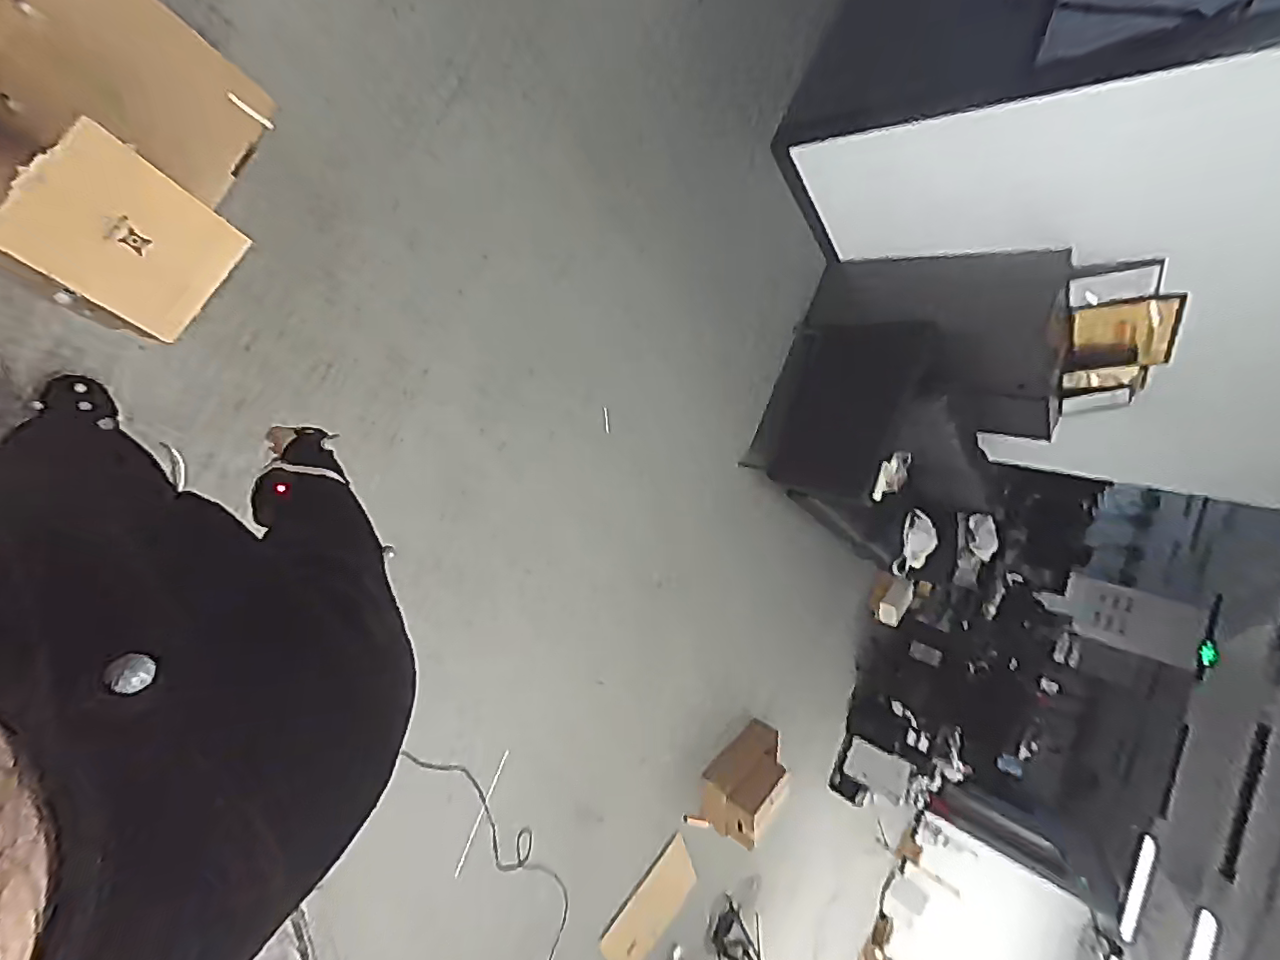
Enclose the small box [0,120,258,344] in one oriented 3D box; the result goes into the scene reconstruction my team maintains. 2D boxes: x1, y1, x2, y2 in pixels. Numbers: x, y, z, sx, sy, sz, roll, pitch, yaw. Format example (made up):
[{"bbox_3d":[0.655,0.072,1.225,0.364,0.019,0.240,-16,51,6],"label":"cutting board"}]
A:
[{"bbox_3d":[-0.625,-0.291,0.662,0.179,0.176,0.168,42,70,-47],"label":"small box"}]
